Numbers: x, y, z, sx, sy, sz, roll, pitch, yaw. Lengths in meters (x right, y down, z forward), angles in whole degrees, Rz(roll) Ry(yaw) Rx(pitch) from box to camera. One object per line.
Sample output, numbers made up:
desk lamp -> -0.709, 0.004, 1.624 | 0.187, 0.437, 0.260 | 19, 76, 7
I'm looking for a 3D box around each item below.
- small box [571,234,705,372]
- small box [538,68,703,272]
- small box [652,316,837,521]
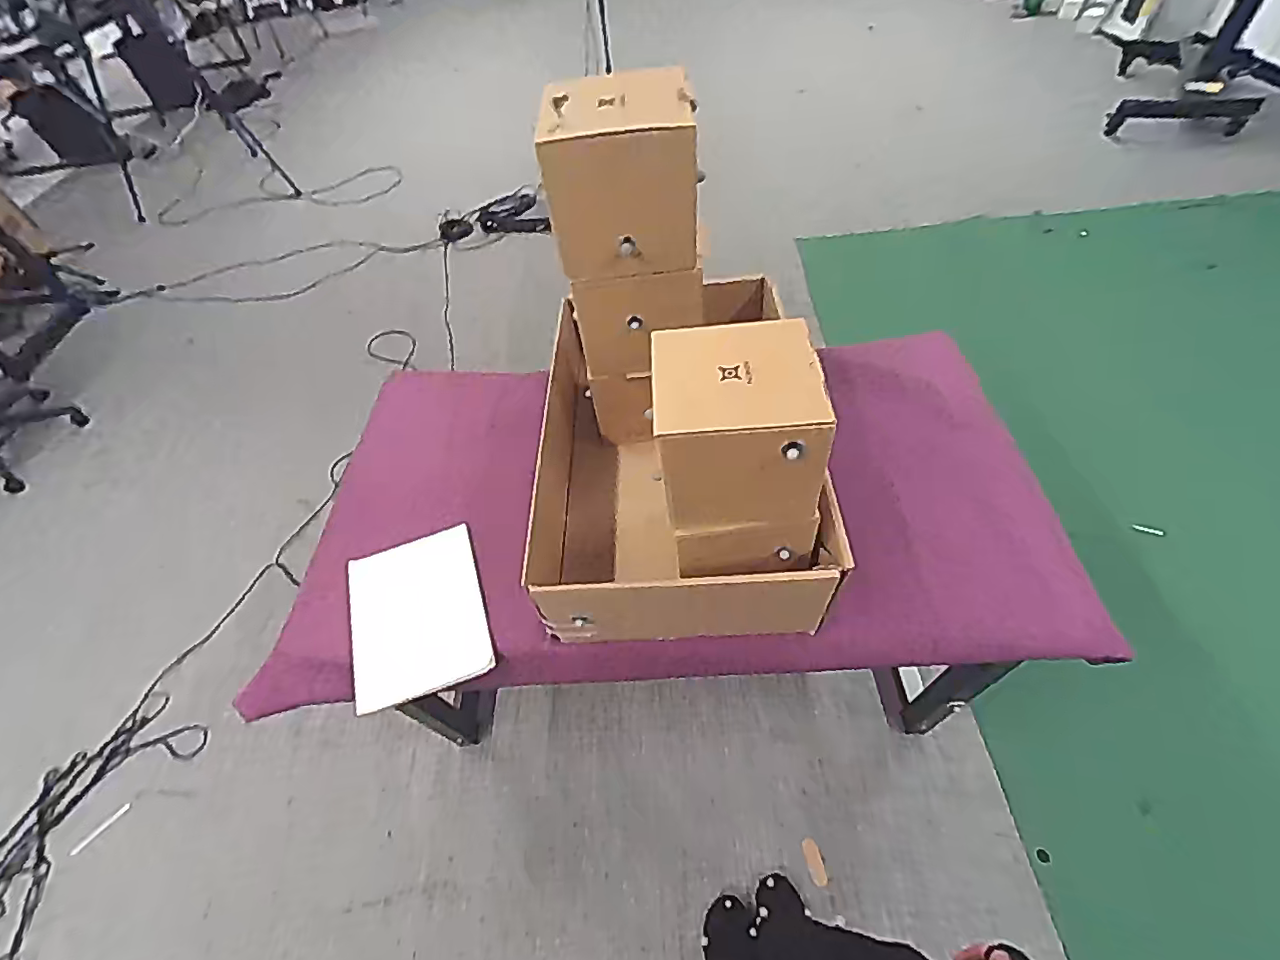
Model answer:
small box -> 0.000, -0.282, 0.807 | 0.179, 0.176, 0.168 | -6, 53, 2
small box -> -0.017, -0.382, 0.678 | 0.179, 0.176, 0.168 | -3, 53, 3
small box -> 0.109, -0.064, 0.623 | 0.179, 0.176, 0.168 | -3, 51, 4
